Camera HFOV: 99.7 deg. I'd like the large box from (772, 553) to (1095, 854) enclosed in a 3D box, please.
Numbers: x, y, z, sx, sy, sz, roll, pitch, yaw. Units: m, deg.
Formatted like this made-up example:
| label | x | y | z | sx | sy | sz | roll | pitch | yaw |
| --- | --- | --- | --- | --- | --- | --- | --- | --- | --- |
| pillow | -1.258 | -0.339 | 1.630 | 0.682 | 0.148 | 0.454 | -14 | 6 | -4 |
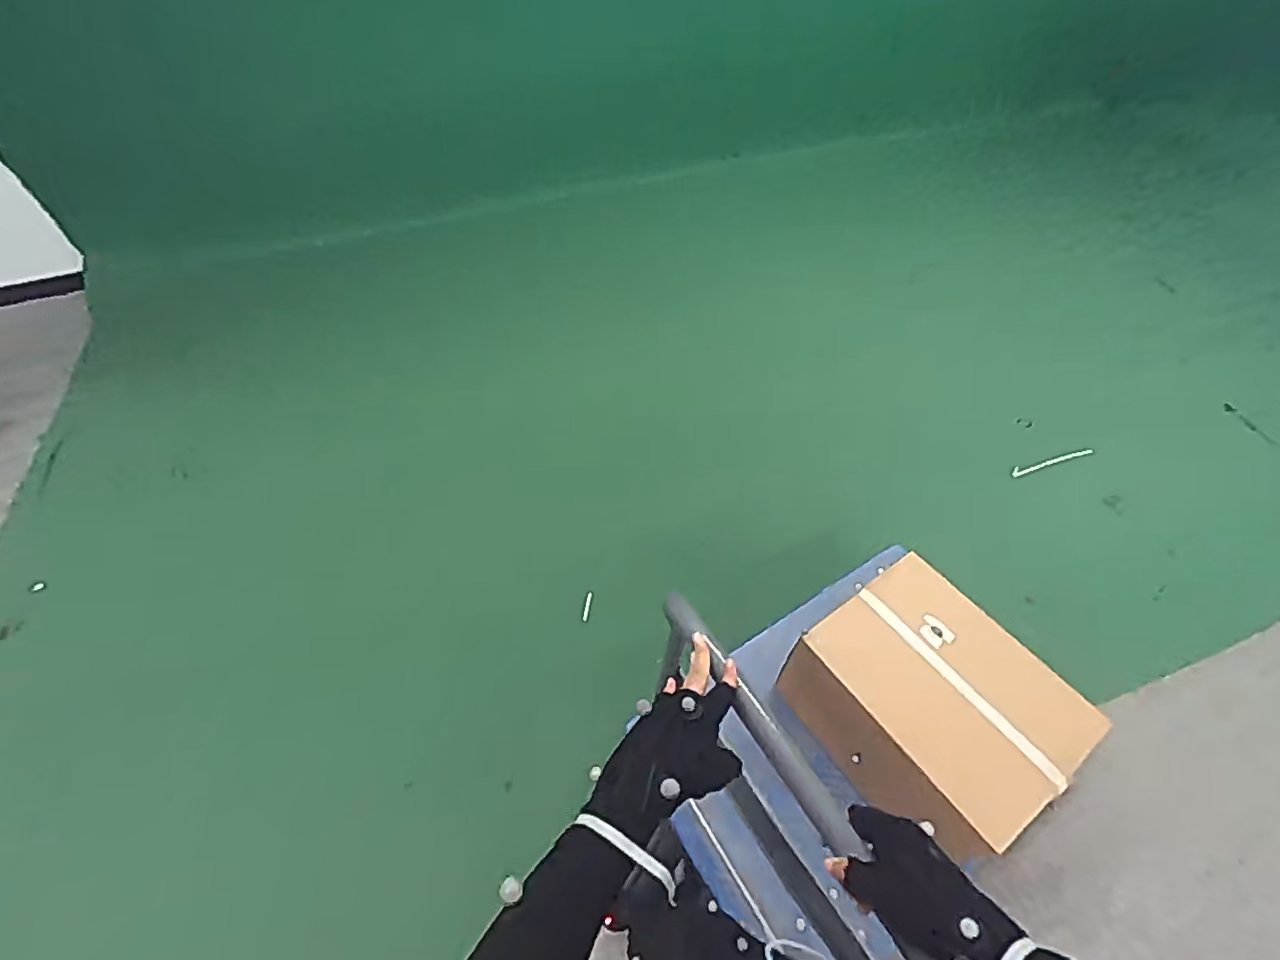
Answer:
| label | x | y | z | sx | sy | sz | roll | pitch | yaw |
| --- | --- | --- | --- | --- | --- | --- | --- | --- | --- |
| large box | 0.529 | 0.434 | 1.066 | 0.320 | 0.320 | 0.408 | -29 | 56 | -20 |
